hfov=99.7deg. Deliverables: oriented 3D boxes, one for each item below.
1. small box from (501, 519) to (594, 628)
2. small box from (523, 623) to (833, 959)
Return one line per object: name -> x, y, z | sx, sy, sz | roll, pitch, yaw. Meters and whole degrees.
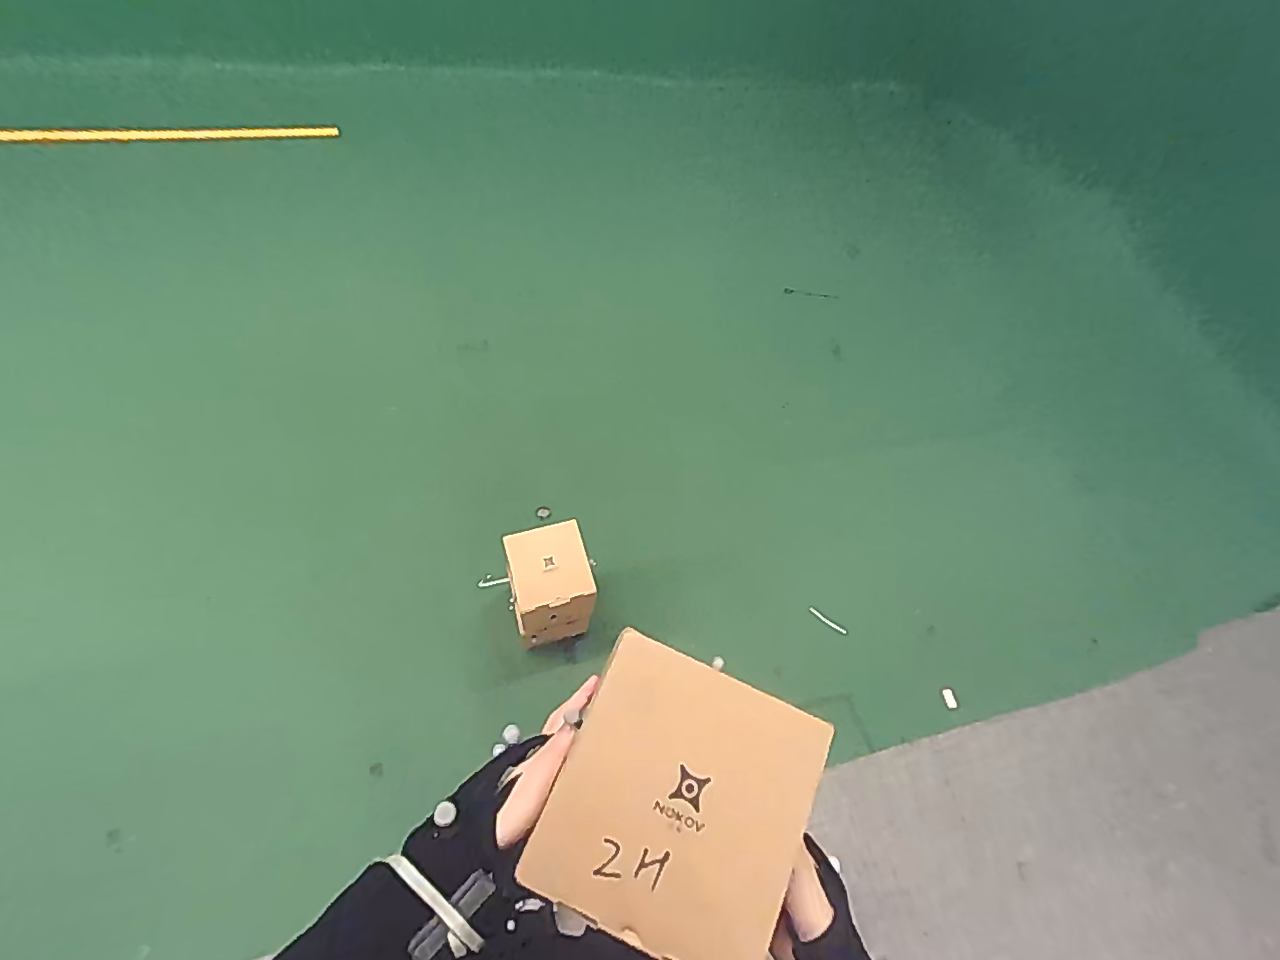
small box -> -0.212, 0.214, 1.220 | 0.168, 0.176, 0.179 | -13, 65, -16
small box -> 0.024, 0.237, 0.442 | 0.168, 0.176, 0.179 | 25, 72, 4
